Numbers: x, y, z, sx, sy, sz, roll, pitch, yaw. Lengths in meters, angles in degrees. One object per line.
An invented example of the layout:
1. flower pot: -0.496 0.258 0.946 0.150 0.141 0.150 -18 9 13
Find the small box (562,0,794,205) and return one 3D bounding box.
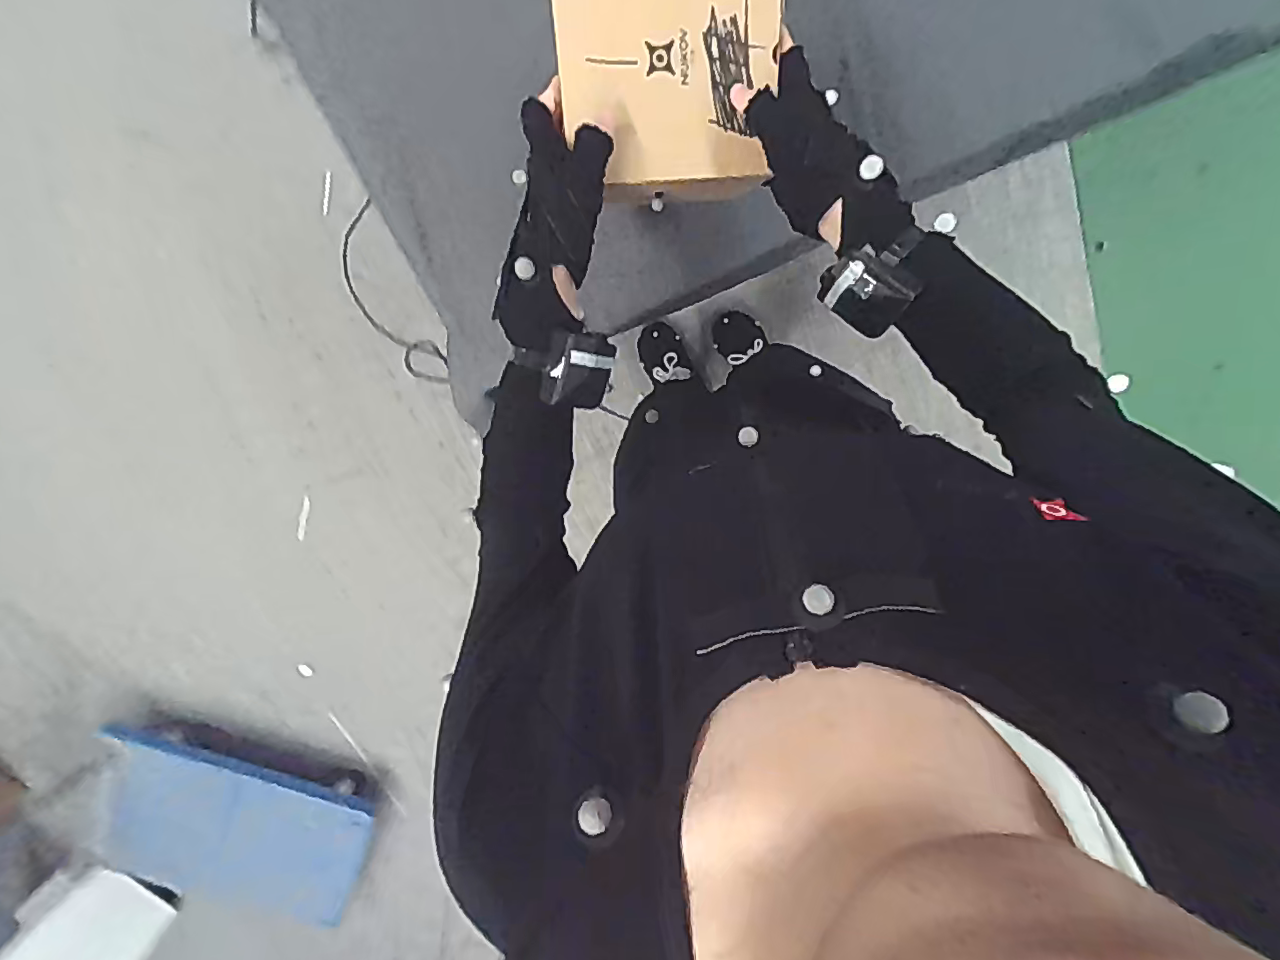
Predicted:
1. small box: 0.026 -0.350 0.488 0.179 0.176 0.168 -4 111 -1
